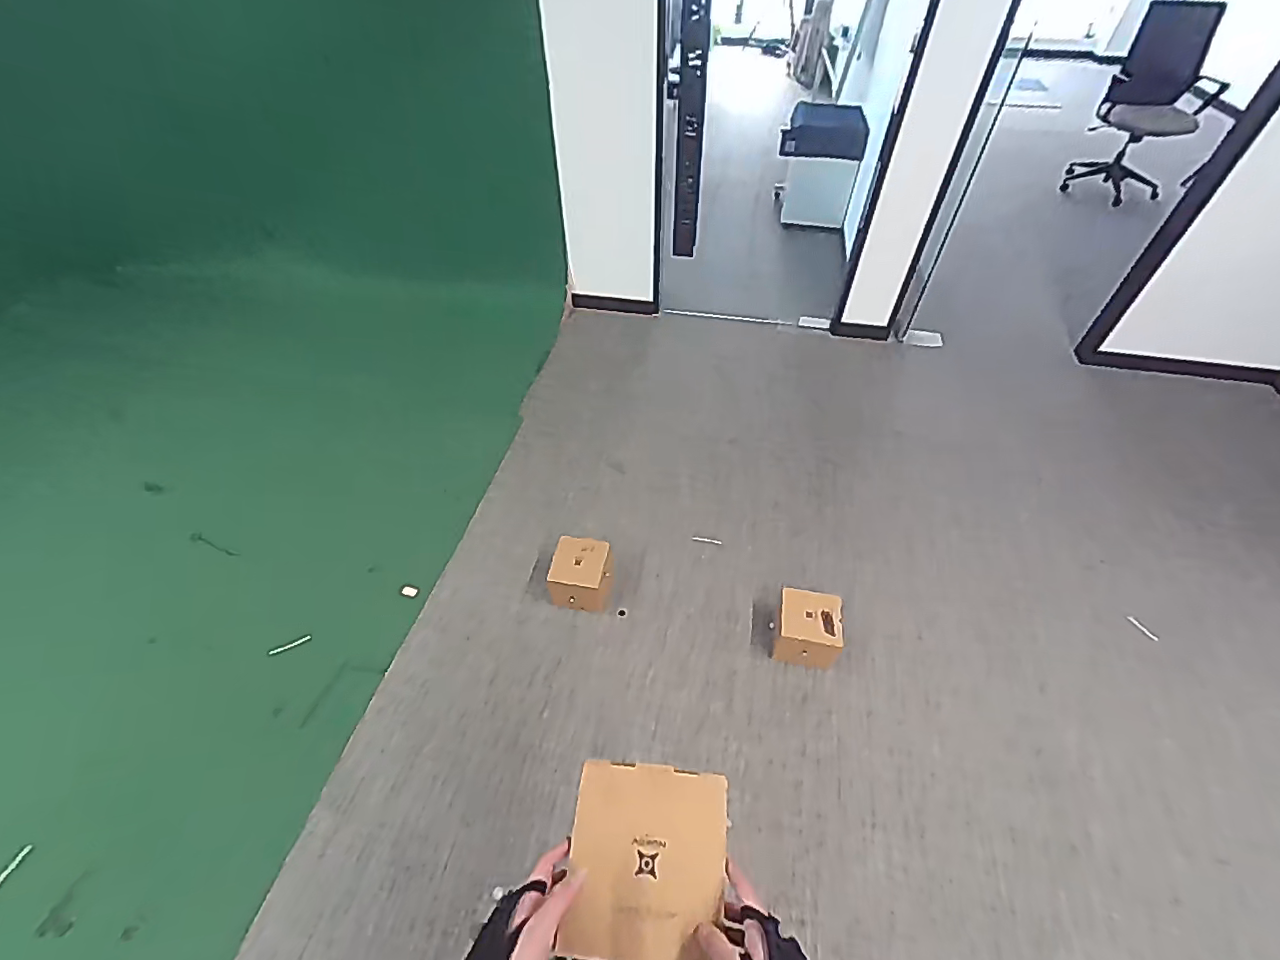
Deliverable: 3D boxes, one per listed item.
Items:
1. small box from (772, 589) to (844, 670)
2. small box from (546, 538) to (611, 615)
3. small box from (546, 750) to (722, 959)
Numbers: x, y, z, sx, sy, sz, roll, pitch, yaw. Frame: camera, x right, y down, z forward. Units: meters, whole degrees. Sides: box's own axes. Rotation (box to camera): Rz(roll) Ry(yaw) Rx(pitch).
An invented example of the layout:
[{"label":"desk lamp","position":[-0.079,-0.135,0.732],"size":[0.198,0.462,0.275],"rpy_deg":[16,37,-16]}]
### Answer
[{"label":"small box","position":[0.503,0.455,1.630],"size":[0.179,0.176,0.168],"rpy_deg":[8,48,9]},{"label":"small box","position":[-0.191,0.317,1.761],"size":[0.168,0.176,0.179],"rpy_deg":[8,49,7]},{"label":"small box","position":[0.000,0.430,0.626],"size":[0.168,0.176,0.179],"rpy_deg":[5,57,5]}]
